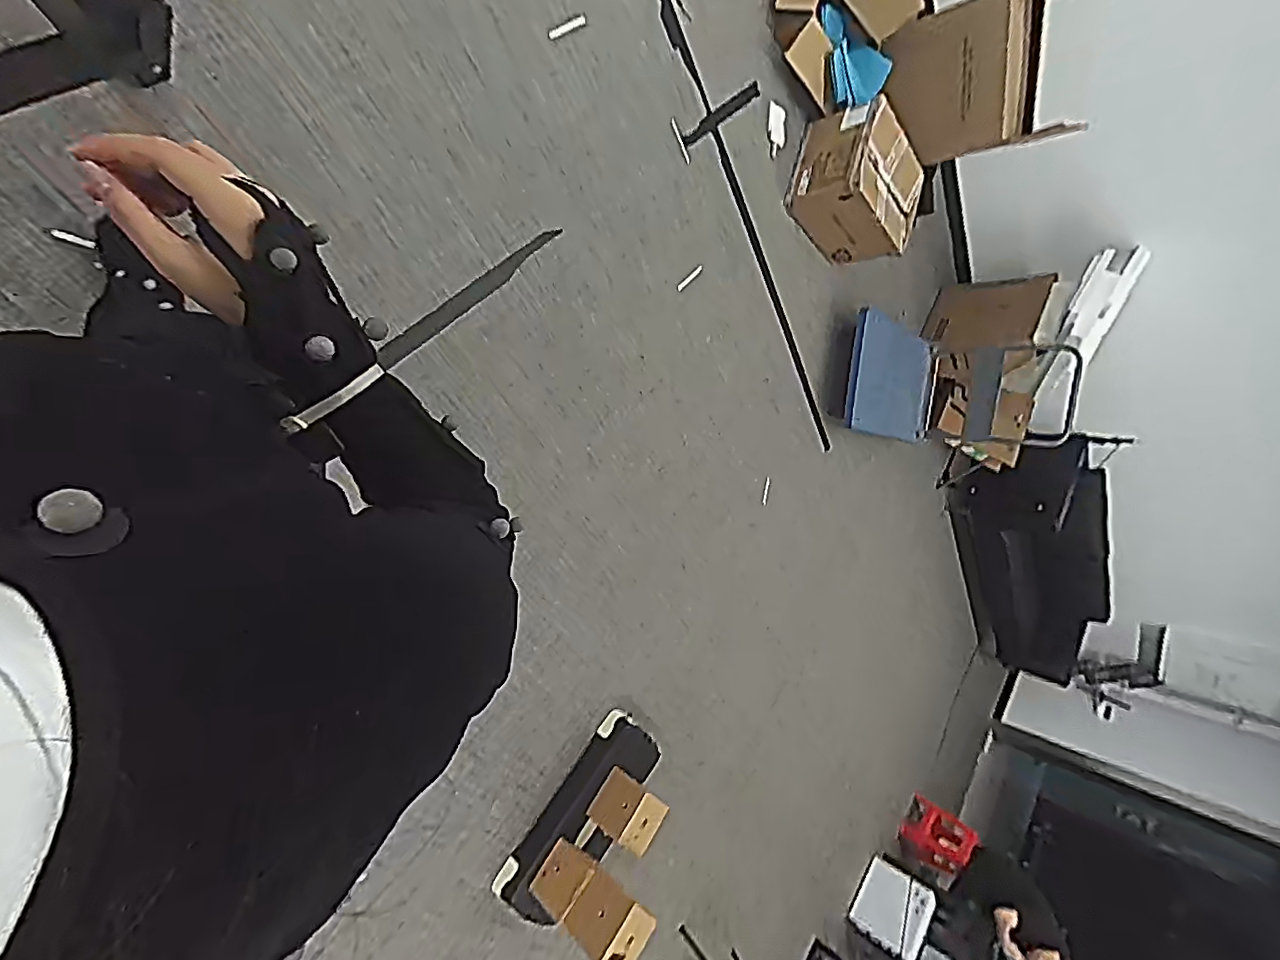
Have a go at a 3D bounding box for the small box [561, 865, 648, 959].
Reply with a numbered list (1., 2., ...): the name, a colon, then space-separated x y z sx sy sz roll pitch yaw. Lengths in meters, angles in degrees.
1. small box: -0.113 1.311 1.613 0.179 0.176 0.168 -48 126 -28

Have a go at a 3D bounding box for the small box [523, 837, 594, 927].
1. small box: -0.234 1.284 1.721 0.168 0.176 0.179 -52 128 -24
